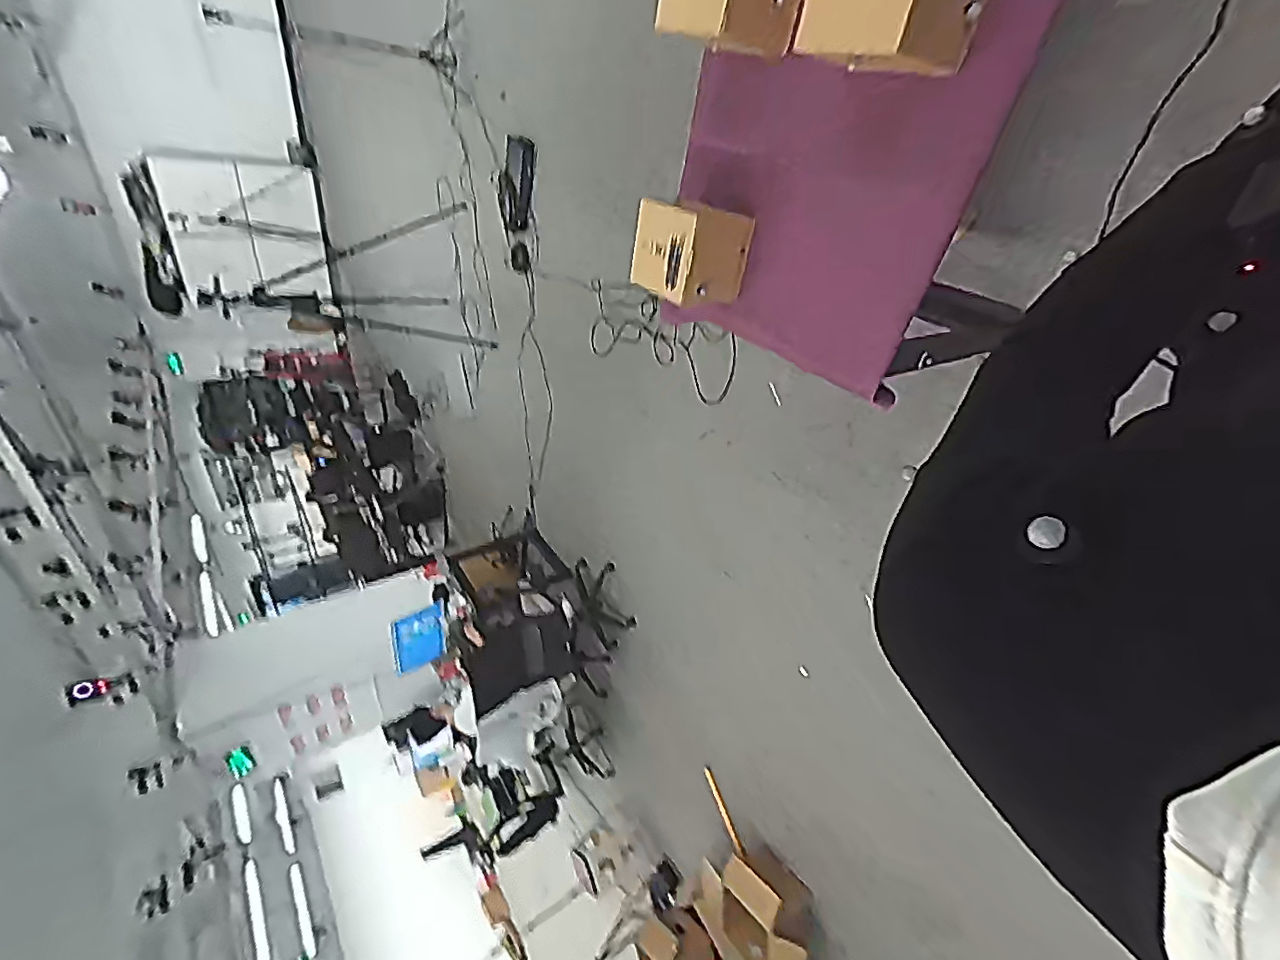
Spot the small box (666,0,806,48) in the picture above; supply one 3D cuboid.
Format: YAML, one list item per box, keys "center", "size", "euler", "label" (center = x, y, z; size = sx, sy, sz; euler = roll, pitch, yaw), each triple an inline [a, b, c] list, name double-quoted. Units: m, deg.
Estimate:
- center: [0.175, -0.867, 0.931]
  size: [0.179, 0.176, 0.168]
  euler: [43, 137, 36]
  label: "small box"

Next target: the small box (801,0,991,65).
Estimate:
- center: [0.360, -0.681, 0.736]
  size: [0.179, 0.176, 0.168]
  euler: [44, 139, 39]
  label: "small box"
